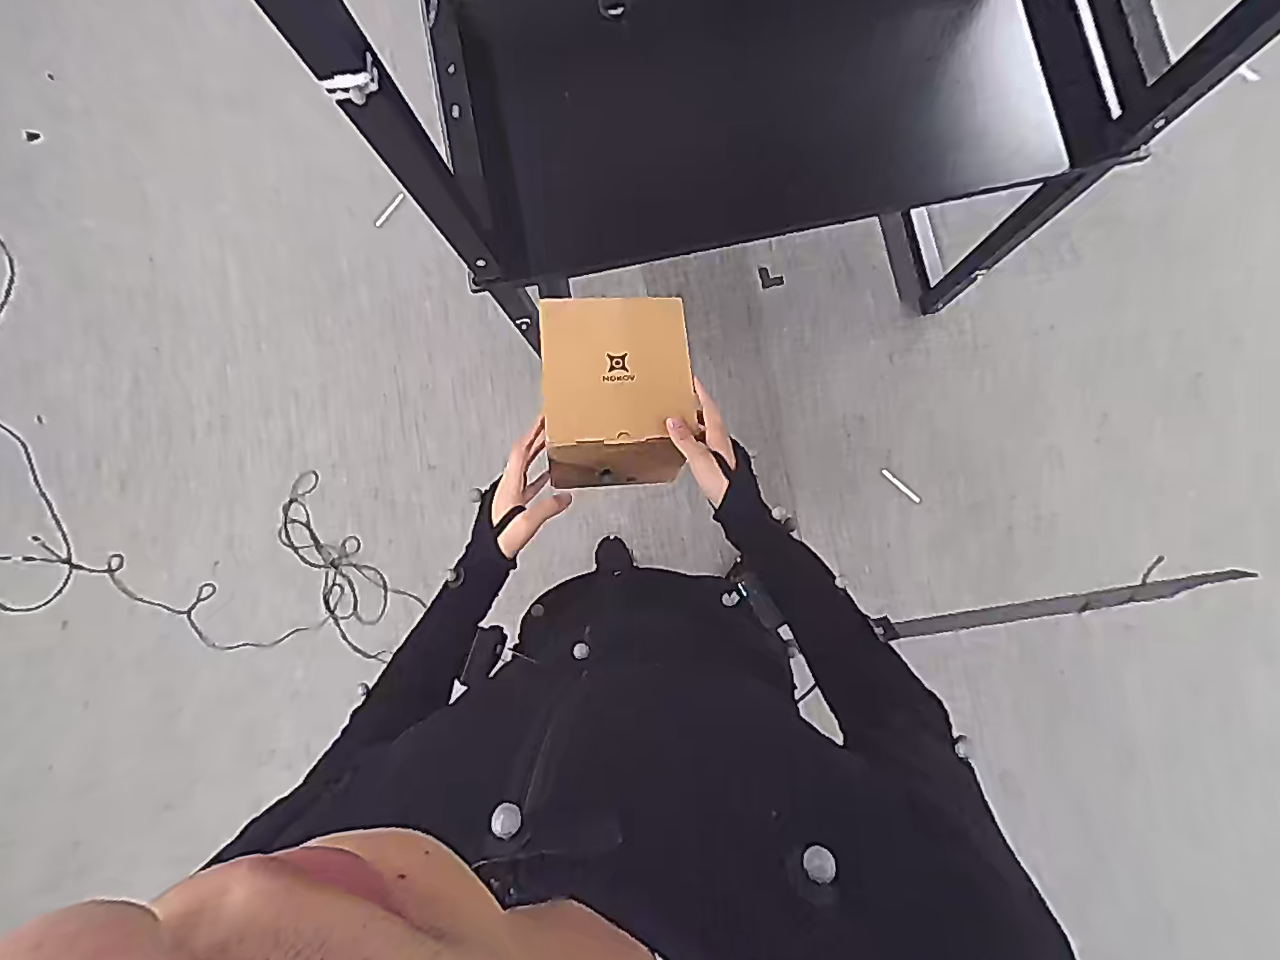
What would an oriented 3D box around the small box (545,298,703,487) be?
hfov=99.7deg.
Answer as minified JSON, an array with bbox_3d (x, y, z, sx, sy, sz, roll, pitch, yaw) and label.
[{"bbox_3d":[-0.030,-0.100,0.663,0.168,0.176,0.179,-4,75,-8],"label":"small box"}]
